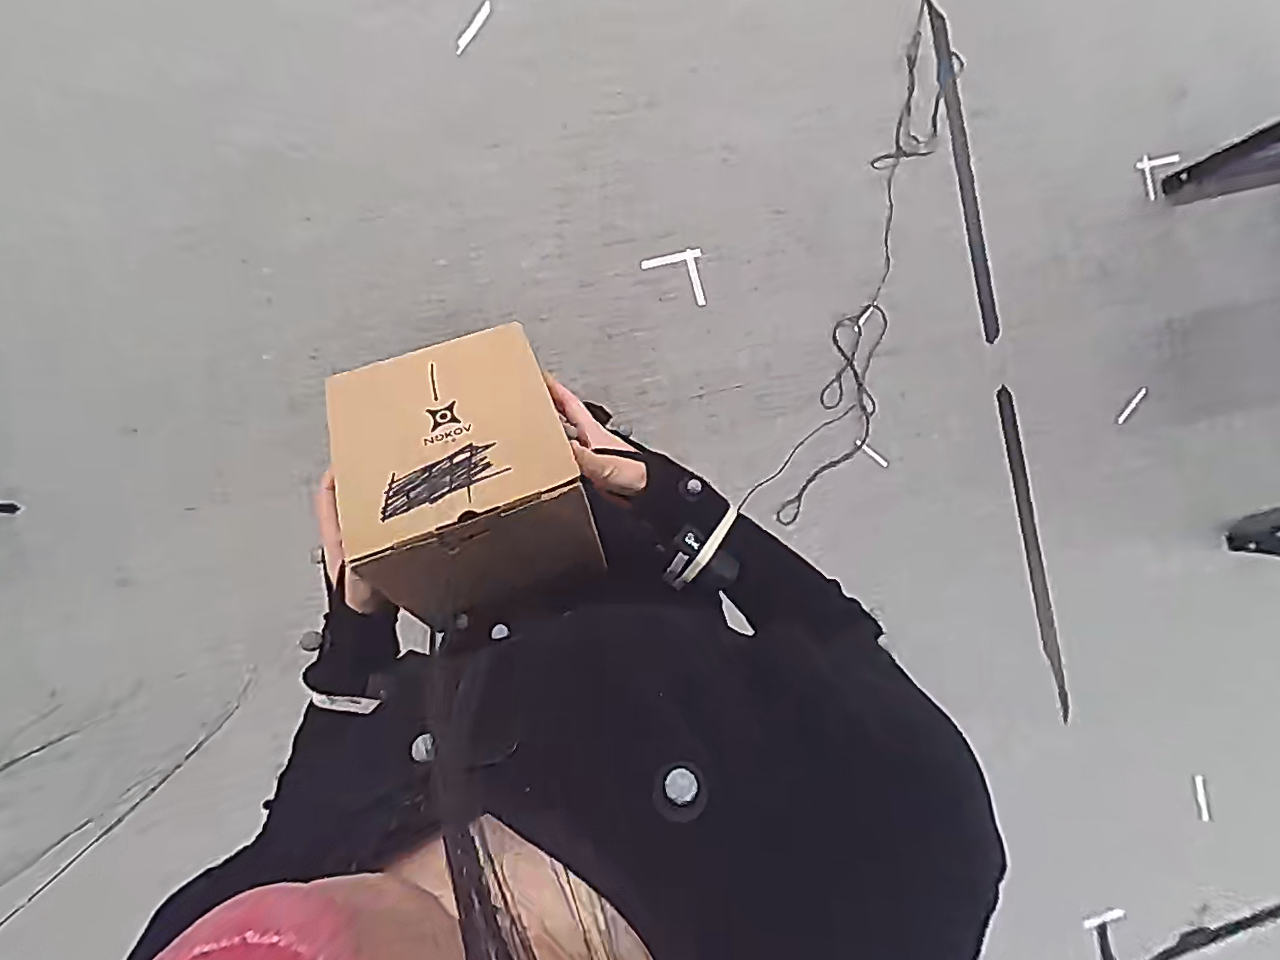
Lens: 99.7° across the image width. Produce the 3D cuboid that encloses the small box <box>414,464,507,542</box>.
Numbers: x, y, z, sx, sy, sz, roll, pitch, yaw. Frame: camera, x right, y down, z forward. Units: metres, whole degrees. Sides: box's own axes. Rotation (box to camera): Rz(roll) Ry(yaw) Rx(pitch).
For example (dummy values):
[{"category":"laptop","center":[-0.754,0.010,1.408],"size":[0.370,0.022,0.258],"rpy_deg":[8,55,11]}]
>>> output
[{"category":"small box","center":[-0.445,0.054,1.365],"size":[0.179,0.176,0.168],"rpy_deg":[-10,93,-7]}]
